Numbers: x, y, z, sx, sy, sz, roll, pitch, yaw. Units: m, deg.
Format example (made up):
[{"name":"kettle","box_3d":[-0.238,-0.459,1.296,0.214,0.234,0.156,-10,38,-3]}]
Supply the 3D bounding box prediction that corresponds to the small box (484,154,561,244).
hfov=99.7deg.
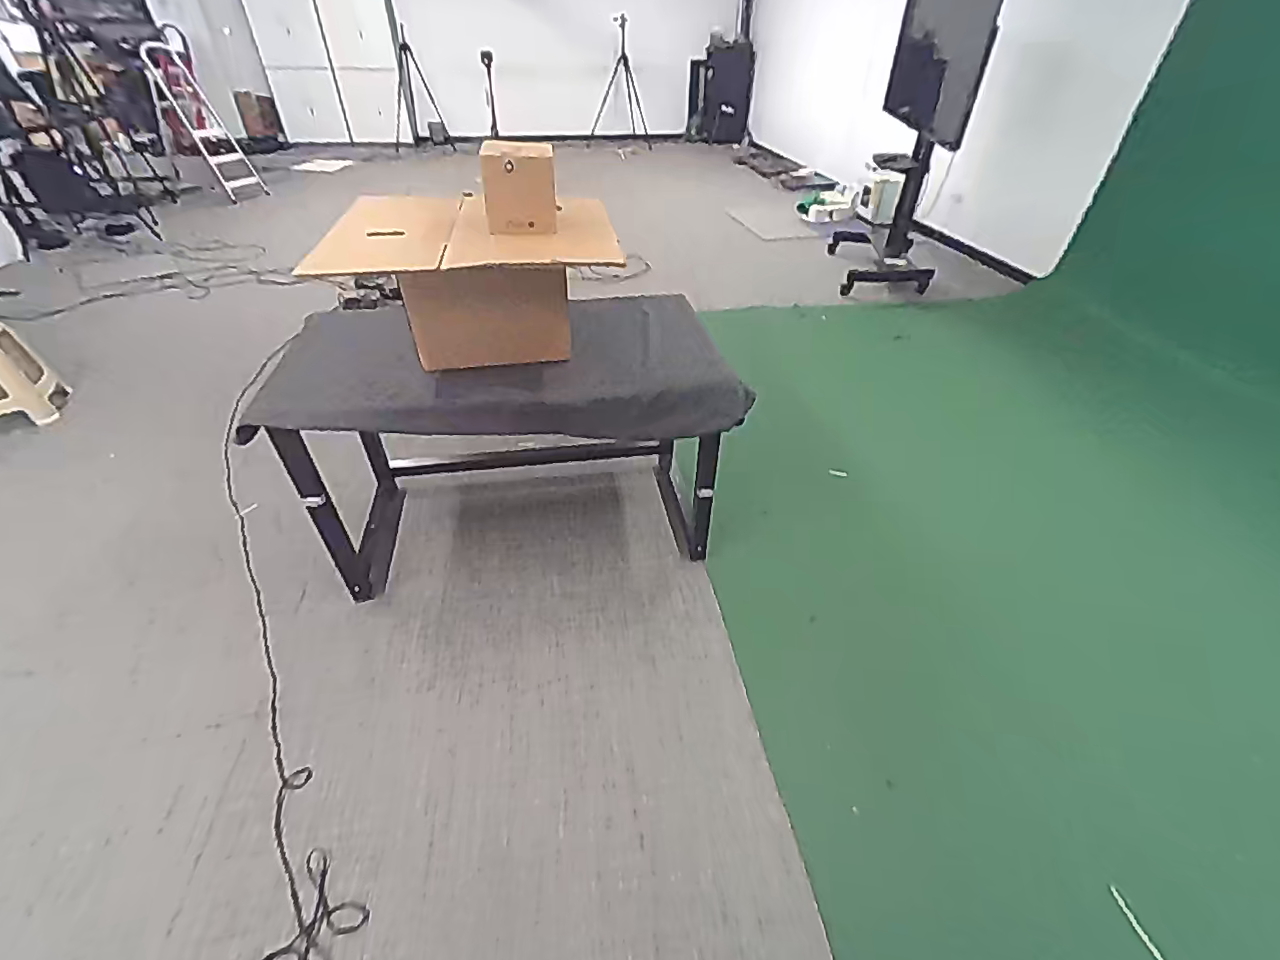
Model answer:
[{"name":"small box","box_3d":[-0.284,-0.695,1.337,0.168,0.176,0.179,-4,39,-7]}]
